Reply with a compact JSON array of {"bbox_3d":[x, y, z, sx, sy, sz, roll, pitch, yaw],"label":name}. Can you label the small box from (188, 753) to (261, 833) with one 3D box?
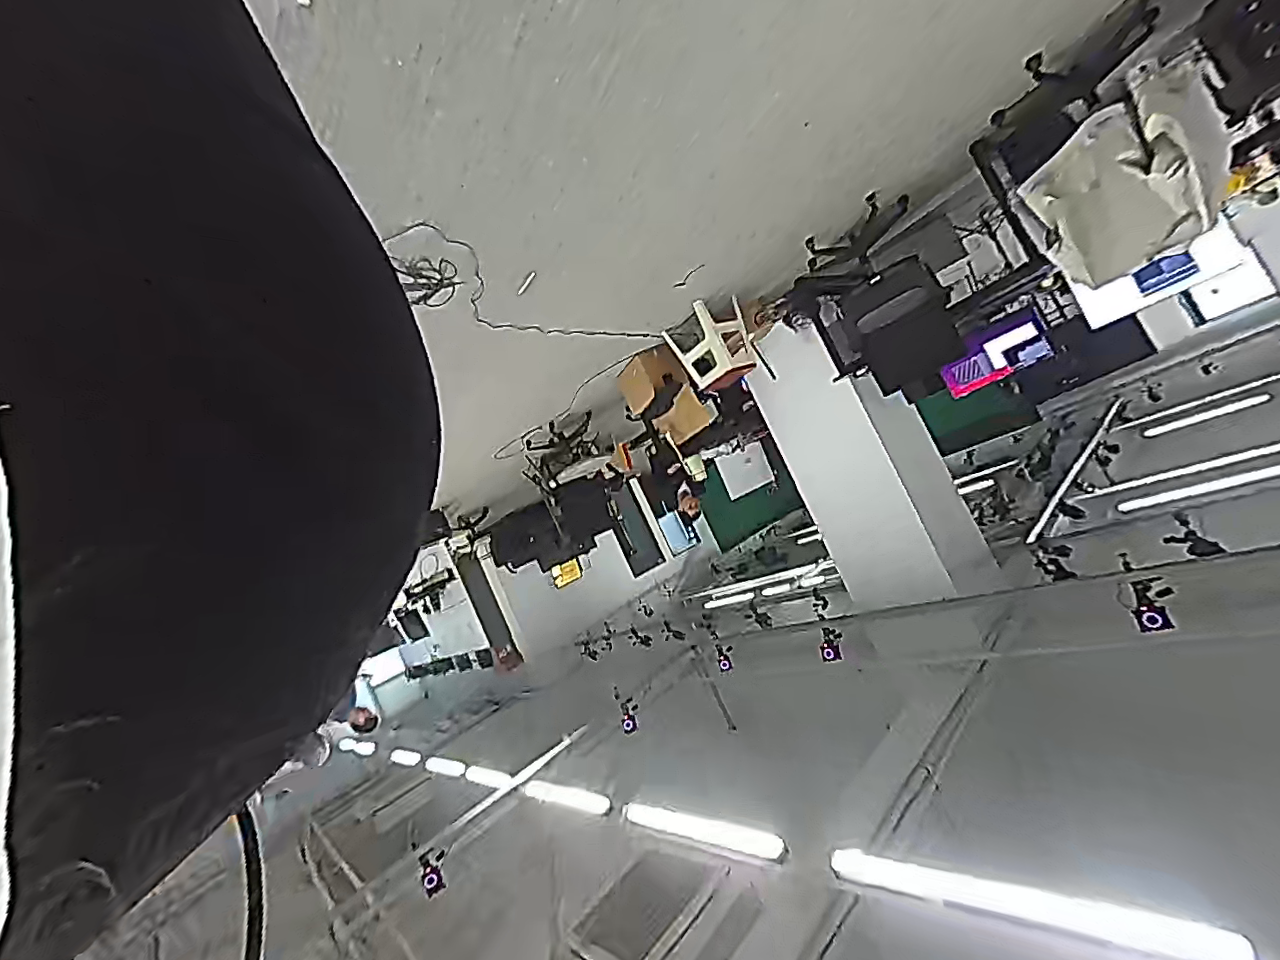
[{"bbox_3d":[-1.491,1.115,1.941,0.179,0.176,0.168,-21,178,-37],"label":"small box"}]
